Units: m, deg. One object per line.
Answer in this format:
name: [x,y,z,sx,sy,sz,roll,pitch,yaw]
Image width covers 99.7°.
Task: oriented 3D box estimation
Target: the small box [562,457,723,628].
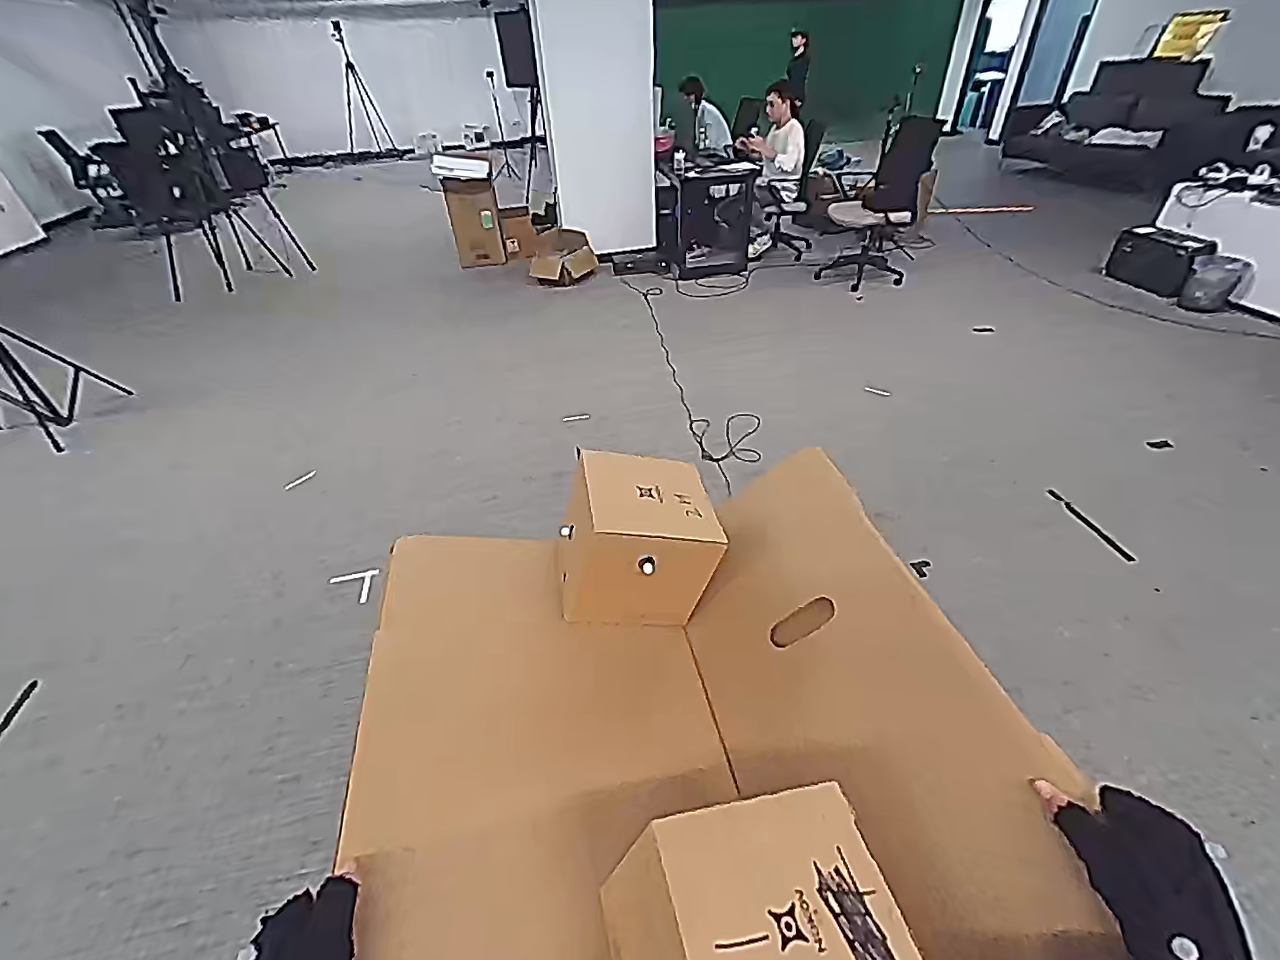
small box: [-0.011,0.090,0.757,0.179,0.176,0.168,8,37,-18]
